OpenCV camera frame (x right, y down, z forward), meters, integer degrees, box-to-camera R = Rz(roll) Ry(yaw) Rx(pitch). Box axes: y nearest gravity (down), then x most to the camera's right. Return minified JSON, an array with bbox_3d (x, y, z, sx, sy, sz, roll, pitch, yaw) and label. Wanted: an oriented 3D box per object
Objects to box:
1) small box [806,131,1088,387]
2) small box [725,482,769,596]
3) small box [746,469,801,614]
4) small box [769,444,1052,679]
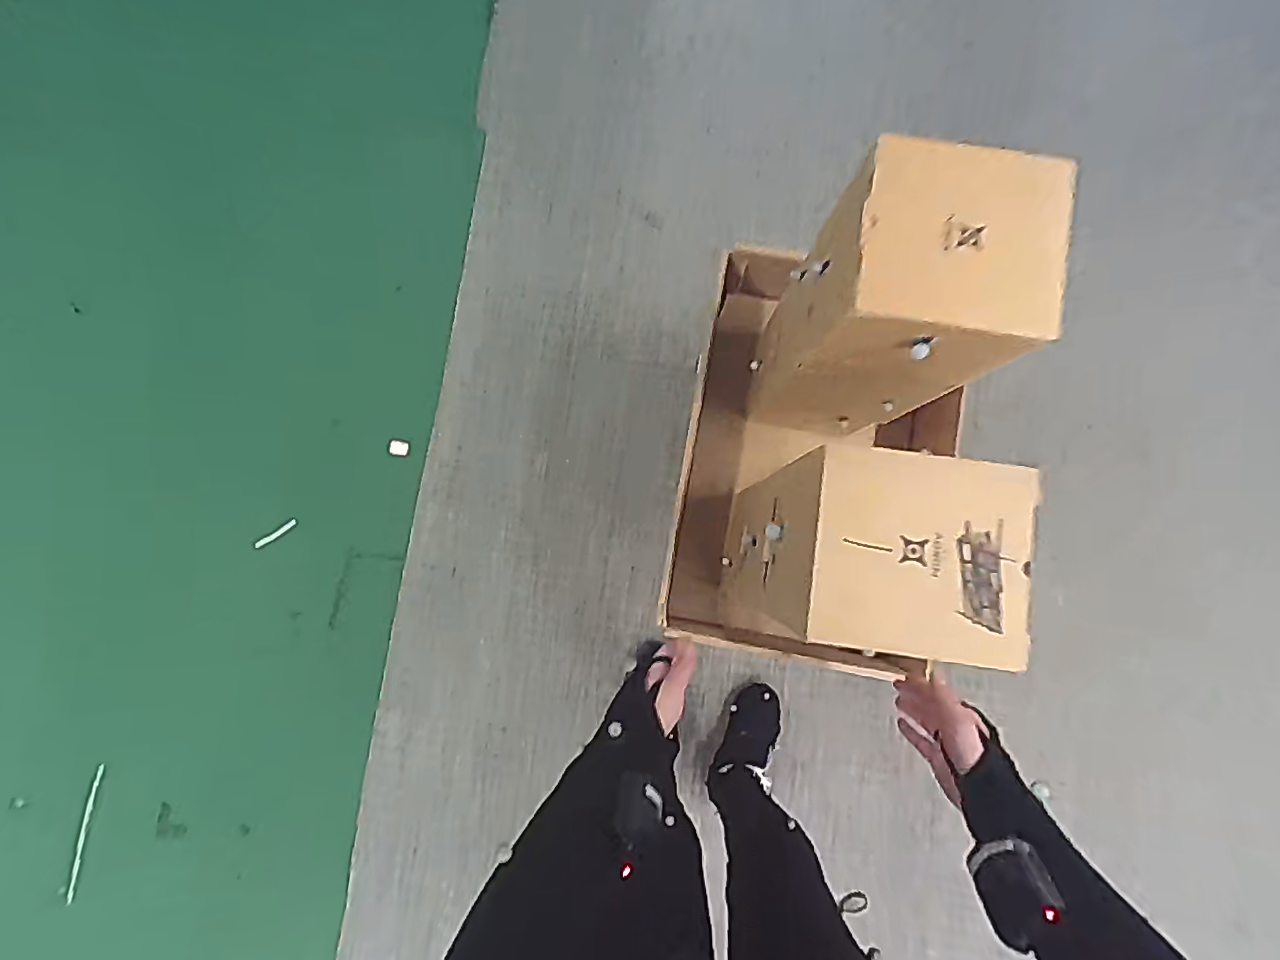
[{"bbox_3d":[0.285,-0.200,0.537,0.179,0.176,0.168,10,85,2],"label":"small box"},{"bbox_3d":[0.238,0.108,0.834,0.179,0.176,0.168,12,84,2],"label":"small box"},{"bbox_3d":[0.236,0.089,0.671,0.179,0.176,0.168,9,85,3],"label":"small box"},{"bbox_3d":[0.234,0.070,0.508,0.179,0.176,0.168,8,84,3],"label":"small box"}]
